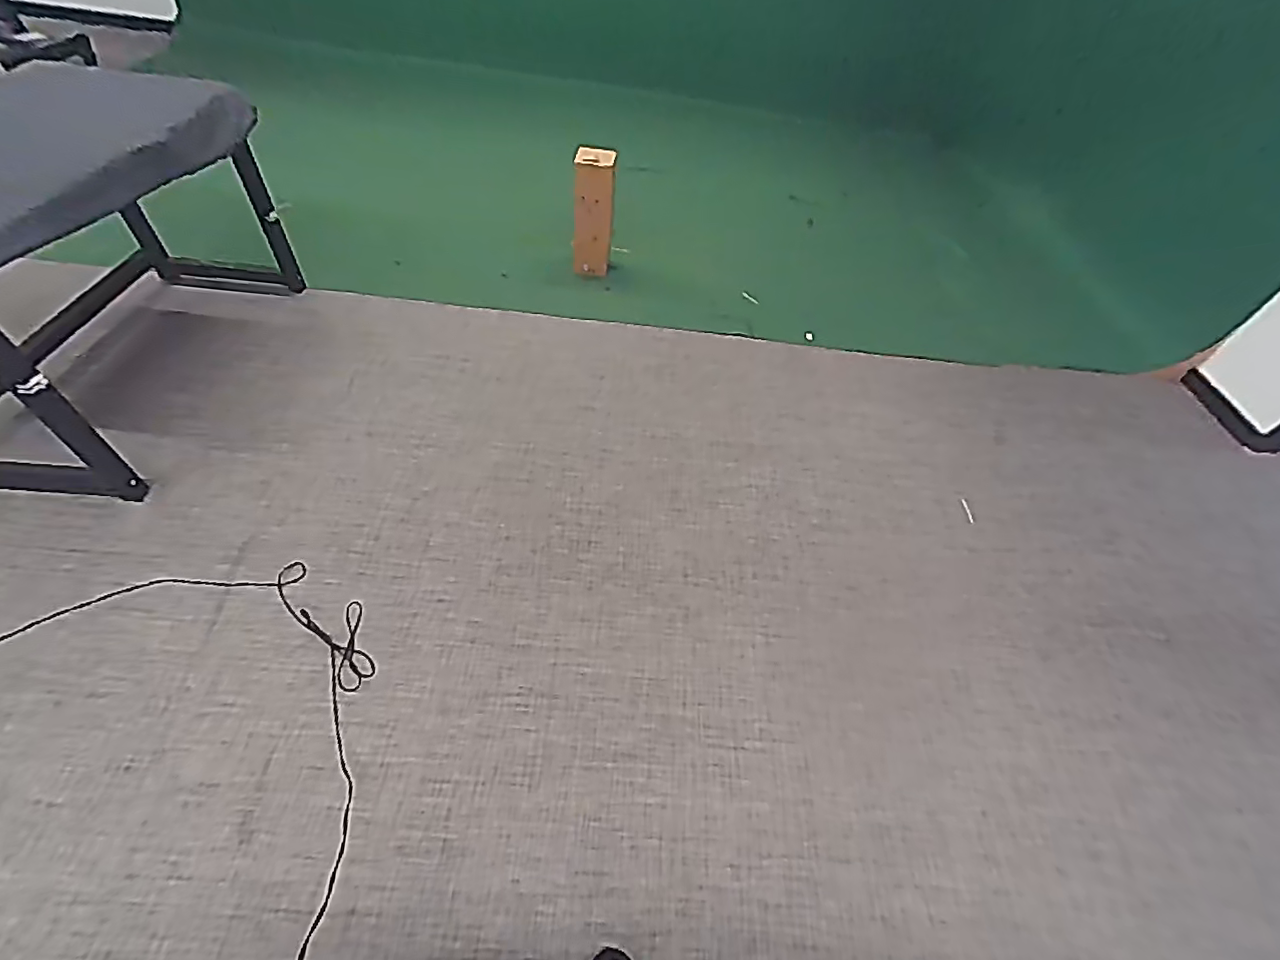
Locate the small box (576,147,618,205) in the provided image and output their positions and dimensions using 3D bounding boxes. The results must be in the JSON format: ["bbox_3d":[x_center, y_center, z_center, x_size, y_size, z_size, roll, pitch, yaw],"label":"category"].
[{"bbox_3d":[-0.190,-1.344,2.394,0.168,0.176,0.179,7,49,-1],"label":"small box"}]

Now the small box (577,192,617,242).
[{"bbox_3d":[-0.202,-1.235,2.517,0.168,0.176,0.179,7,49,-1],"label":"small box"}]

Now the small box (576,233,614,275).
[{"bbox_3d":[-0.221,-1.129,2.640,0.168,0.176,0.179,6,52,-1],"label":"small box"}]
